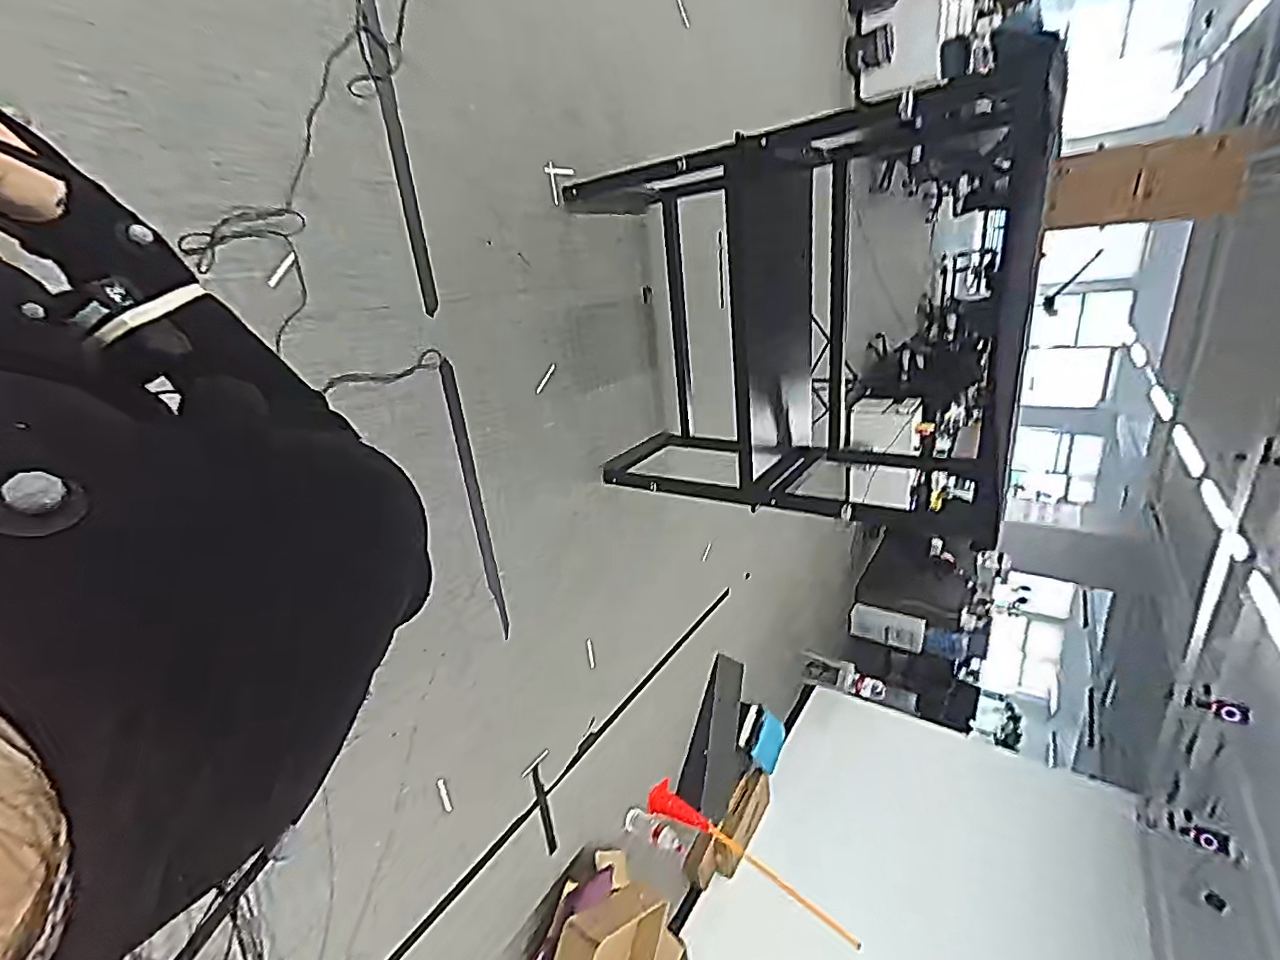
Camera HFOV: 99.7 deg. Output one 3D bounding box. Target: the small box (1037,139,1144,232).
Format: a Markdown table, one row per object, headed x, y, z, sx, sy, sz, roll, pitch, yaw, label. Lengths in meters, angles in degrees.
| x | y | z | sx | sy | sz | roll | pitch | yaw | label |
| --- | --- | --- | --- | --- | --- | --- | --- | --- | --- |
| 1.050 | -0.688 | 1.275 | 0.179 | 0.176 | 0.168 | -37 | 127 | -48 | small box |
